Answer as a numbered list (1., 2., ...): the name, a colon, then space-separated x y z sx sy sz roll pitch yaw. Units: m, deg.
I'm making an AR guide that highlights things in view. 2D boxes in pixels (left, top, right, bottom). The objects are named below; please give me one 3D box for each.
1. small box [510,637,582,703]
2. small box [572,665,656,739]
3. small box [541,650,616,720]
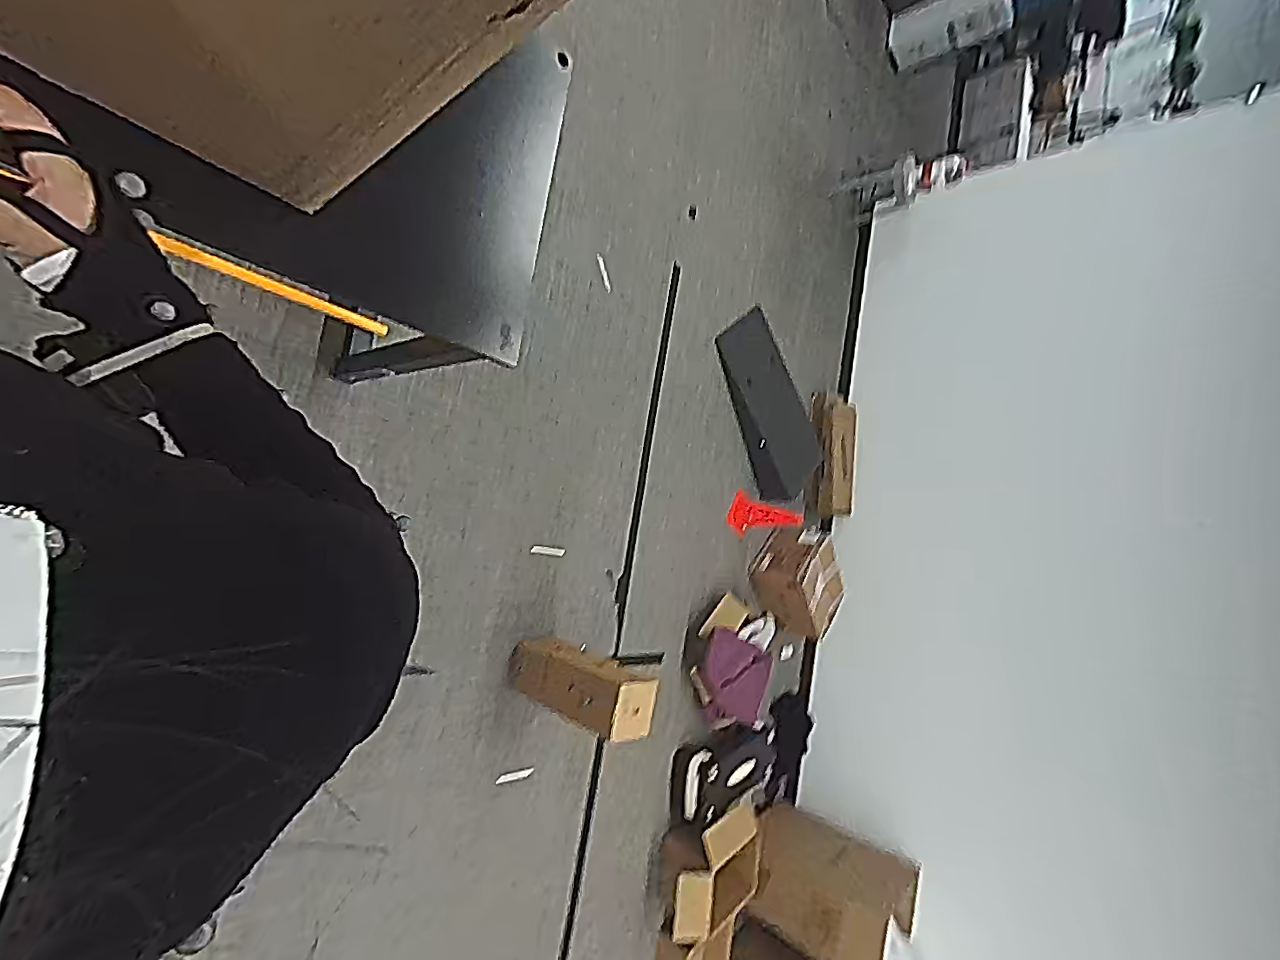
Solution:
1. small box: -0.328 0.655 1.889 0.179 0.176 0.168 9 86 -47
2. small box: -0.080 0.679 1.673 0.179 0.176 0.168 20 78 -47
3. small box: -0.204 0.665 1.781 0.168 0.176 0.179 15 82 -48
